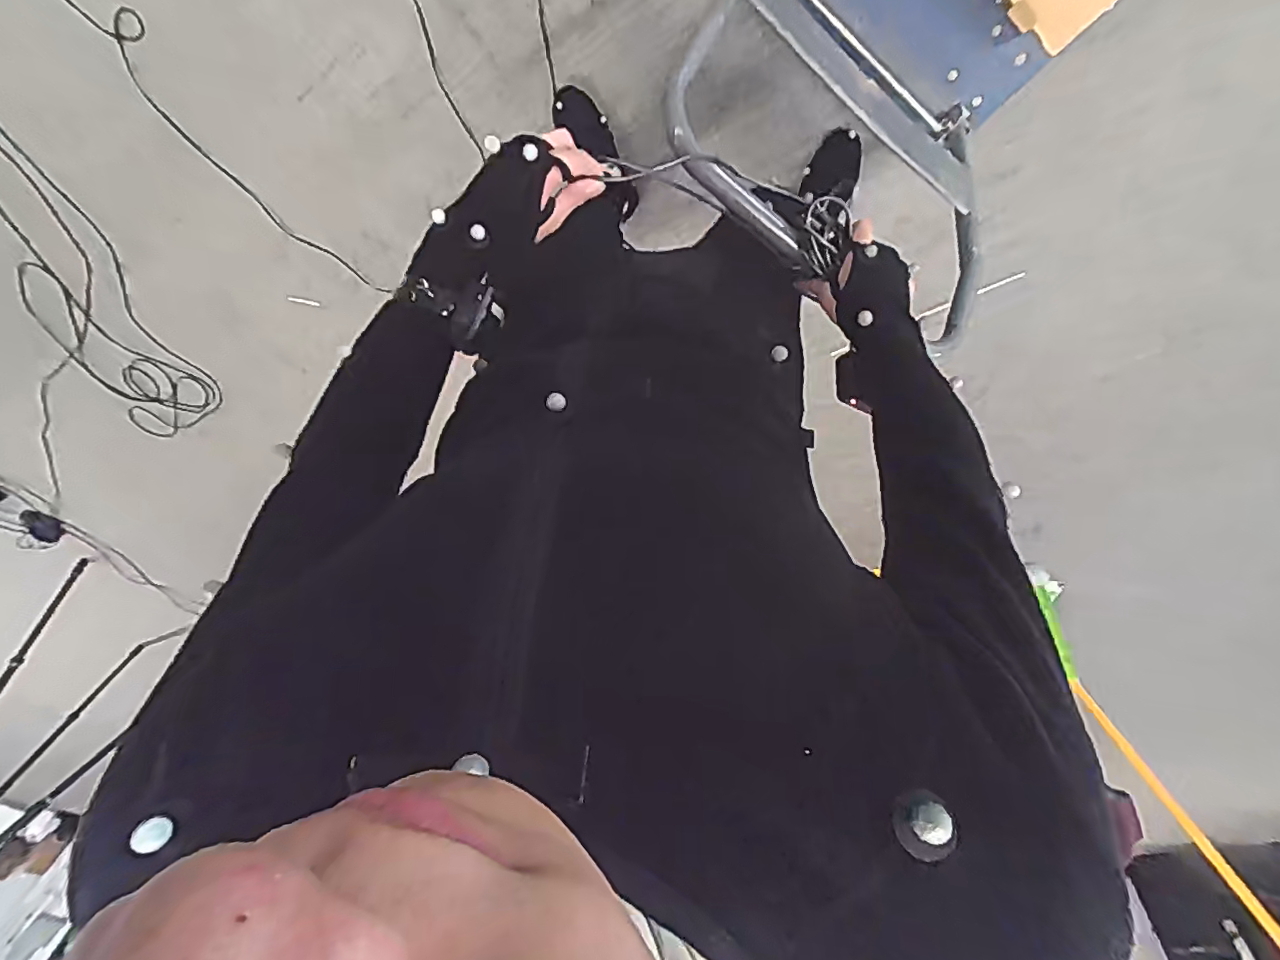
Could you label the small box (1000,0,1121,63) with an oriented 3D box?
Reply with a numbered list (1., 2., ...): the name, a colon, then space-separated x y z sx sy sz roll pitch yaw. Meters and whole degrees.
1. small box: 0.629 -0.778 0.790 0.168 0.176 0.179 33 142 -19
